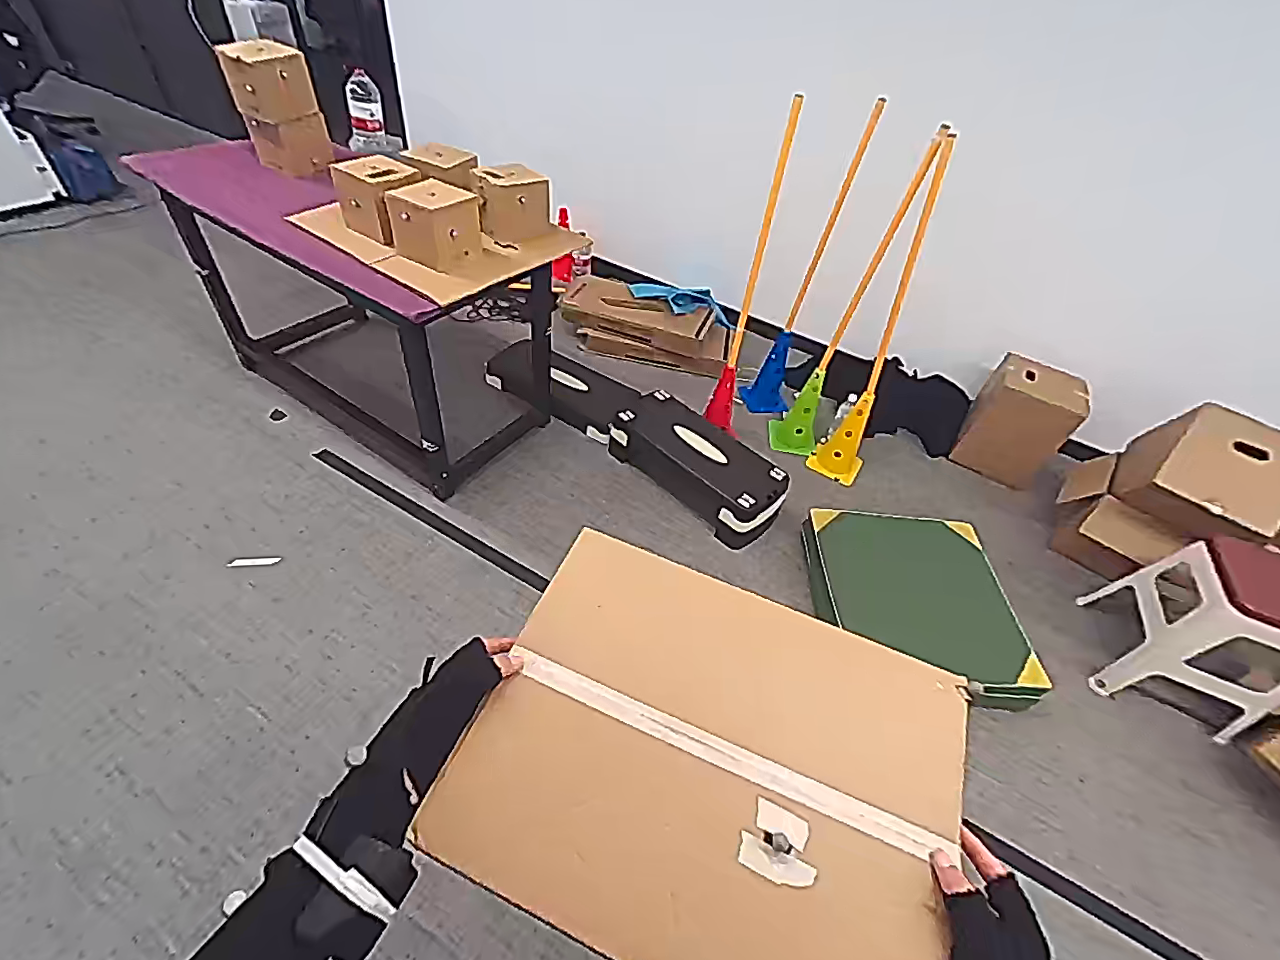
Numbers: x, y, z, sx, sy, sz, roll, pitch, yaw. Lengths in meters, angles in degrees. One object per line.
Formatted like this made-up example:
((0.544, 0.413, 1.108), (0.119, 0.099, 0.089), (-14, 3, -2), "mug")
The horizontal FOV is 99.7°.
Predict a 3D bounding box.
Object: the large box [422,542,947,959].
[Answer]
((0.052, 0.332, 0.595), (0.408, 0.320, 0.320), (21, 54, 11), "large box")
